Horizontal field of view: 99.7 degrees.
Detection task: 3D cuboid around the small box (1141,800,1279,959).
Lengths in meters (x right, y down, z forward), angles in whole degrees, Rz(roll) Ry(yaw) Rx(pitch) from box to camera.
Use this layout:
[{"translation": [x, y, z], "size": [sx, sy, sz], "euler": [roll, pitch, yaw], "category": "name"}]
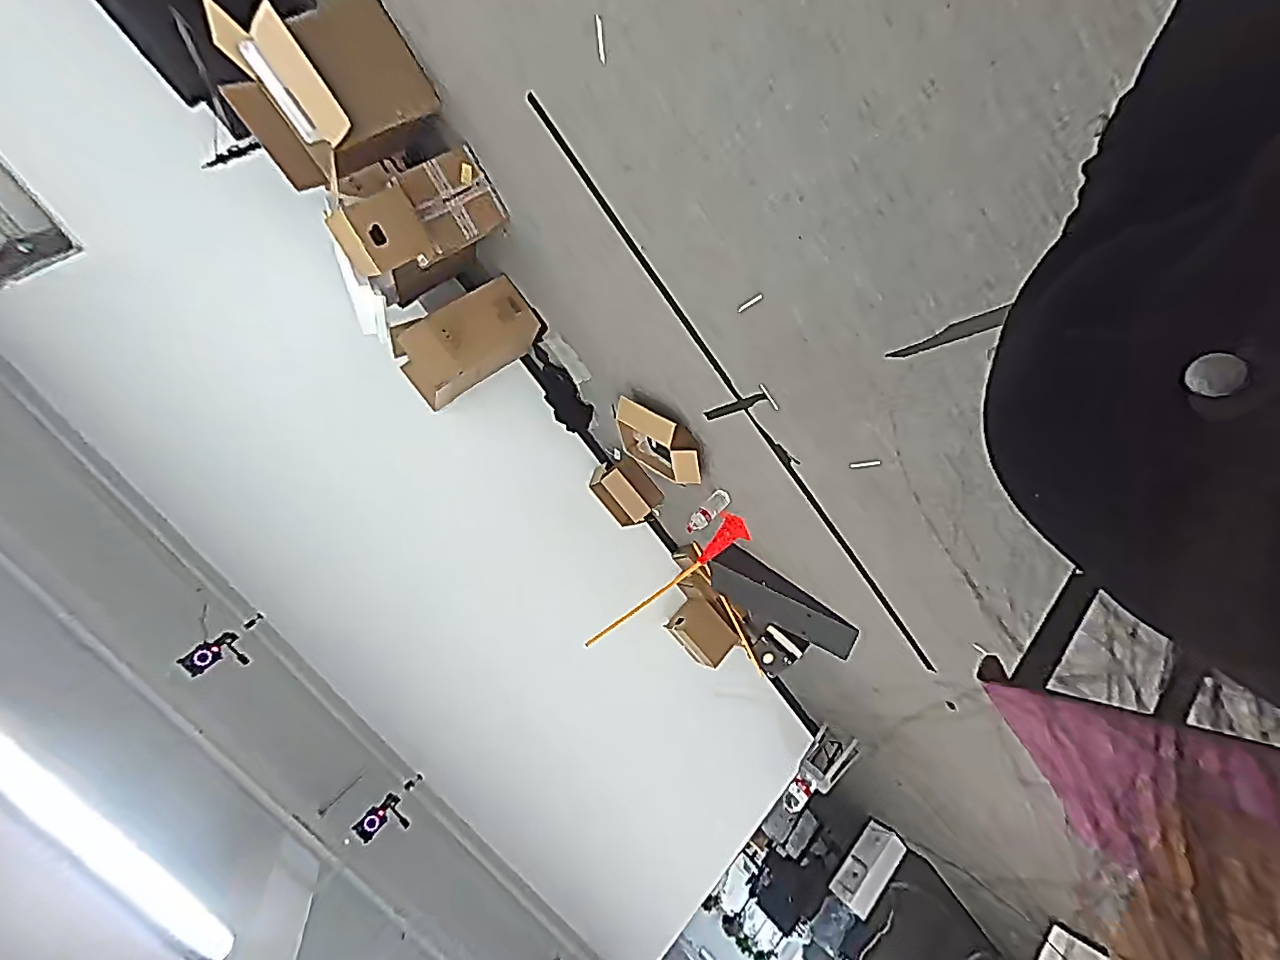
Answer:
[{"translation": [1.096, 0.755, 1.012], "size": [0.179, 0.176, 0.168], "euler": [55, 158, -17], "category": "small box"}]
